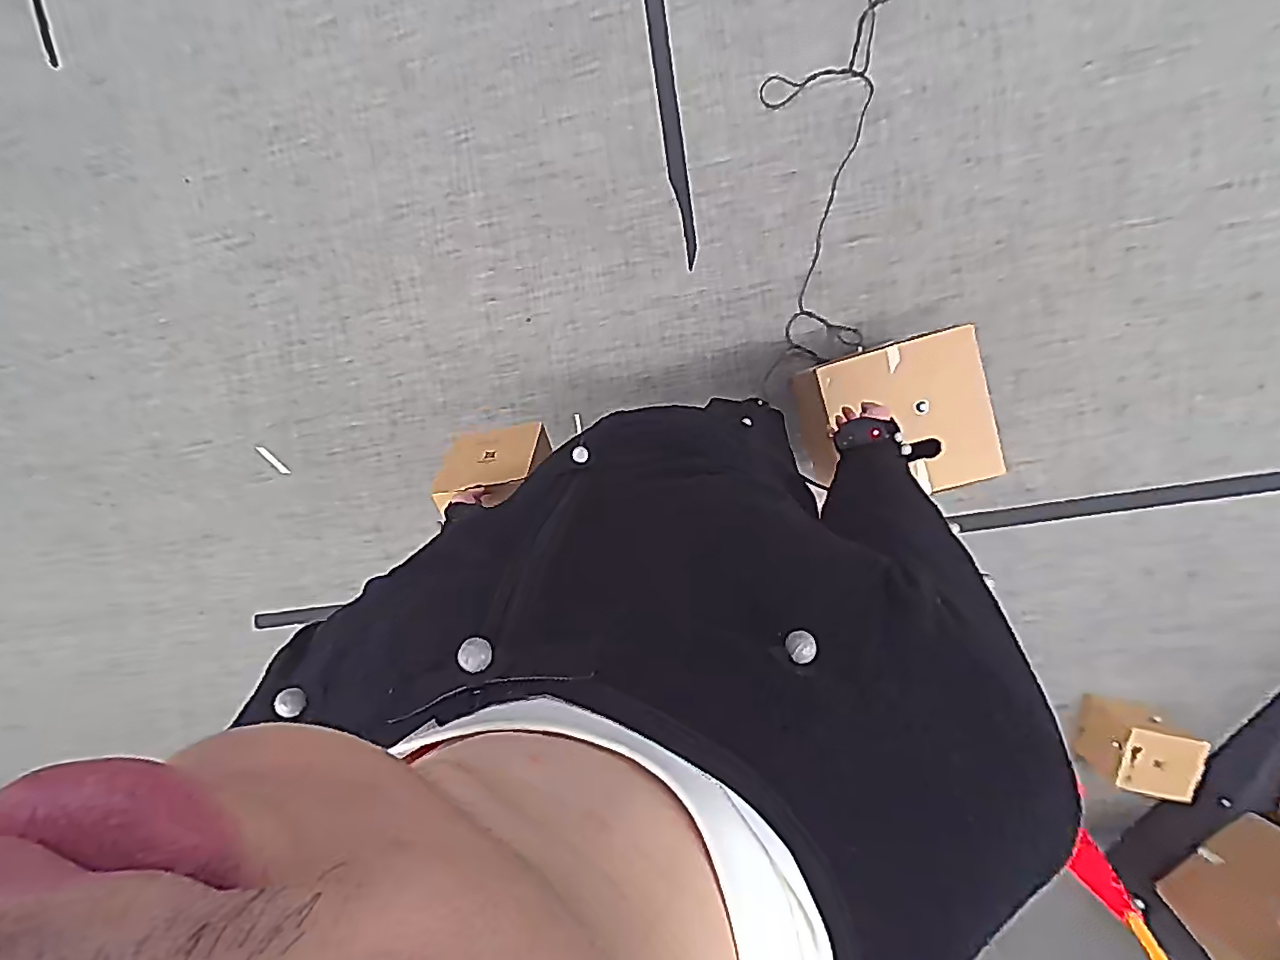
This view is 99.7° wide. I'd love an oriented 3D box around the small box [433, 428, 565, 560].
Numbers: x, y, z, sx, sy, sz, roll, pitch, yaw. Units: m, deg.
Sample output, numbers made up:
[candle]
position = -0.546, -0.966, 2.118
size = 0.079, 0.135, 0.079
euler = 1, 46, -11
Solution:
[small box]
position = -0.243, 0.031, 0.987
size = 0.168, 0.179, 0.176
euler = -8, 126, 7
